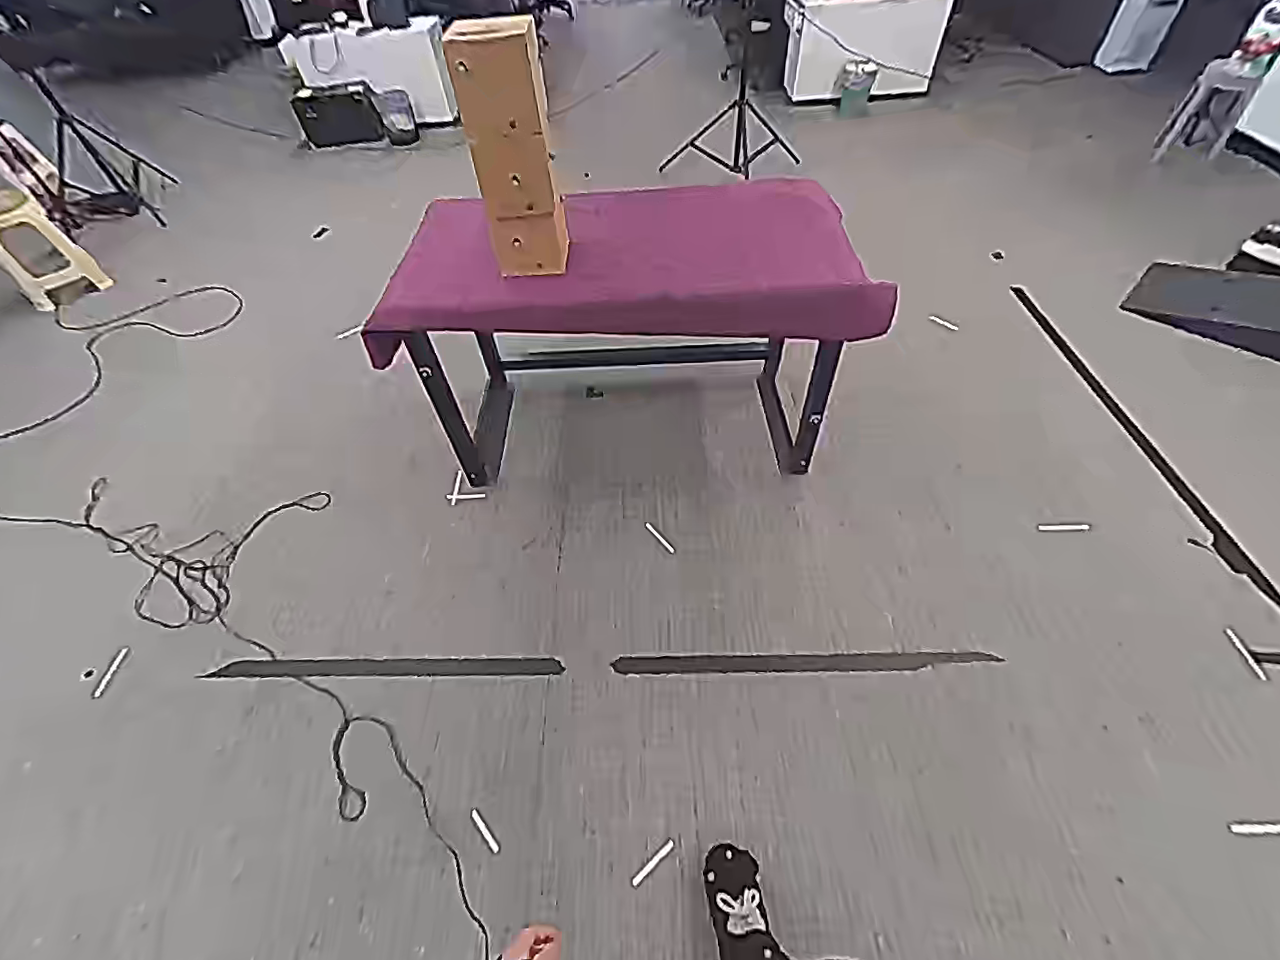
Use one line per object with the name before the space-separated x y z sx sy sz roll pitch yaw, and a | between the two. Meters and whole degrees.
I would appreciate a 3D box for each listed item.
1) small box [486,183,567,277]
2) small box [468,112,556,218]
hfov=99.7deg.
small box | -0.287 -0.643 1.406 0.168 0.176 0.179 -3 50 1
small box | -0.291 -0.730 1.265 0.168 0.176 0.179 -6 51 -2
